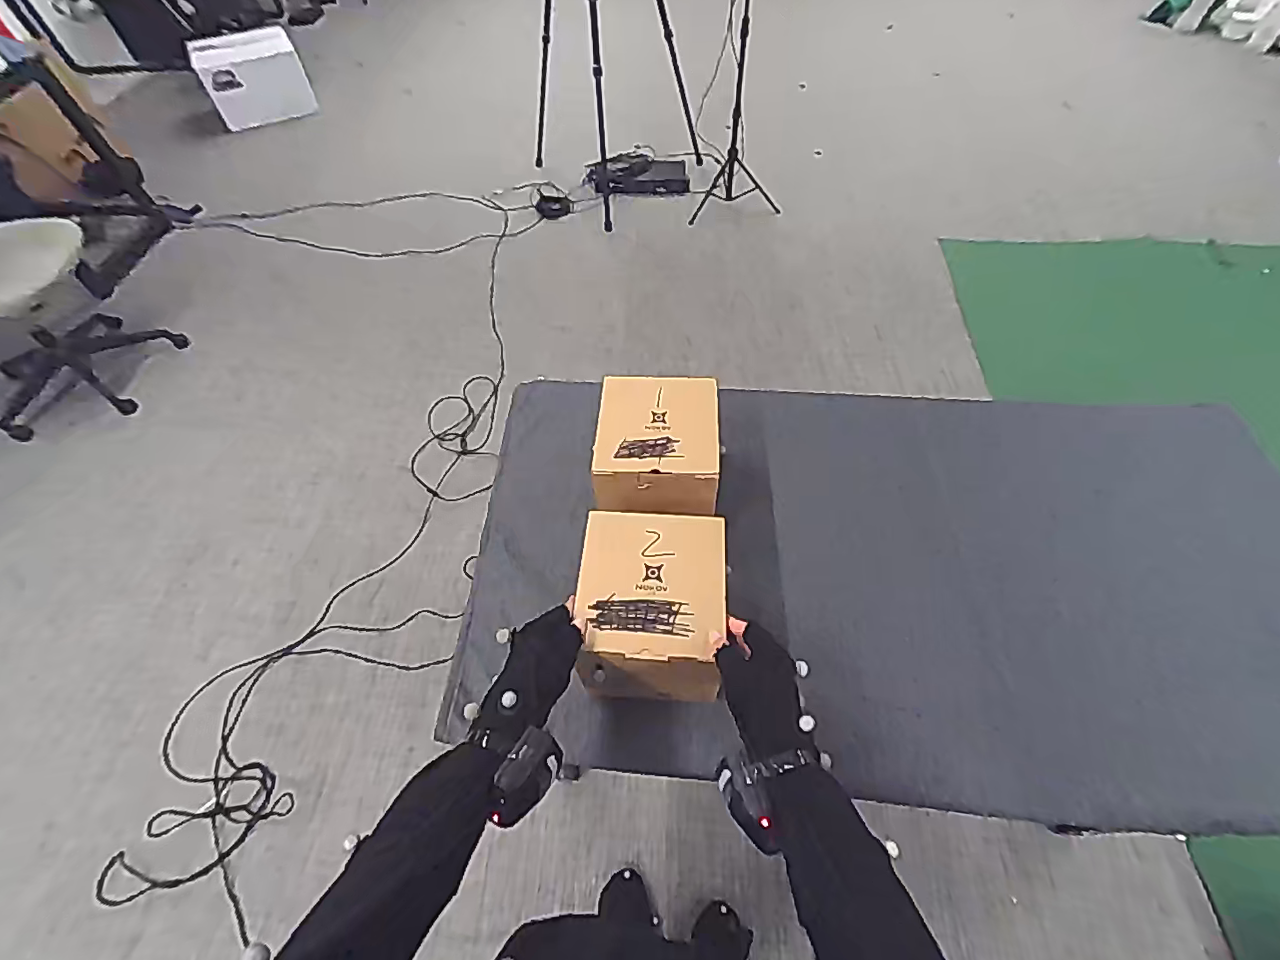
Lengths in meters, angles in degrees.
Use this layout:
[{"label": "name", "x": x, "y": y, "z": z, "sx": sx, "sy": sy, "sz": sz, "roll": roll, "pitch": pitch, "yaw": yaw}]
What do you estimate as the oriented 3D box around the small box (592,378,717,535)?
[{"label": "small box", "x": 0.028, "y": -0.031, "z": 0.802, "sx": 0.168, "sy": 0.176, "sz": 0.179, "roll": 2, "pitch": 55, "yaw": 4}]
